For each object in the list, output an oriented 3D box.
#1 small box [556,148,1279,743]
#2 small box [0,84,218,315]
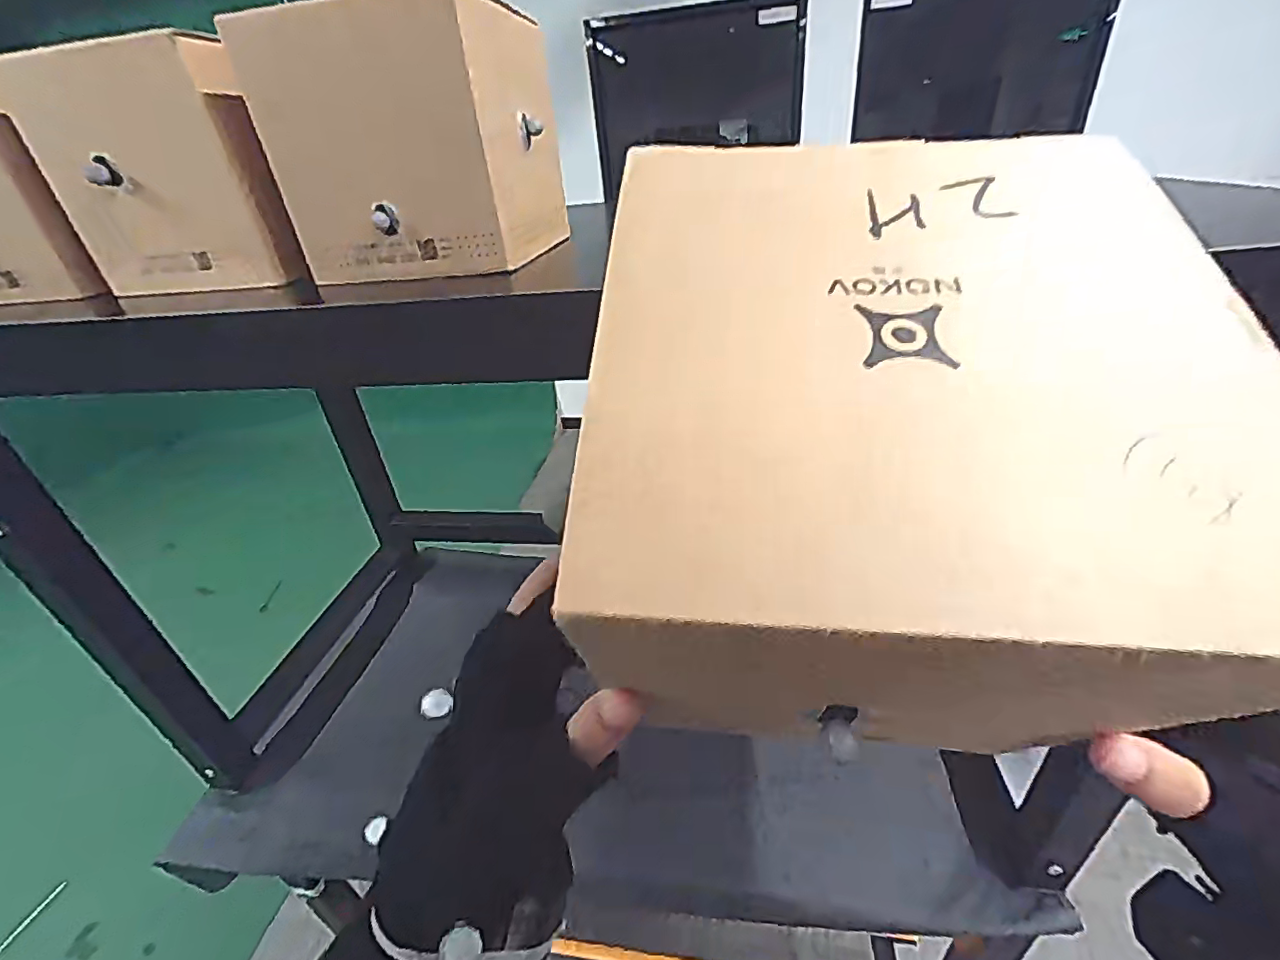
[{"bbox_3d":[0.075,0.001,0.219,0.168,0.176,0.179,2,60,5],"label":"small box"},{"bbox_3d":[-0.560,-0.265,0.520,0.168,0.176,0.179,0,33,9],"label":"small box"}]
